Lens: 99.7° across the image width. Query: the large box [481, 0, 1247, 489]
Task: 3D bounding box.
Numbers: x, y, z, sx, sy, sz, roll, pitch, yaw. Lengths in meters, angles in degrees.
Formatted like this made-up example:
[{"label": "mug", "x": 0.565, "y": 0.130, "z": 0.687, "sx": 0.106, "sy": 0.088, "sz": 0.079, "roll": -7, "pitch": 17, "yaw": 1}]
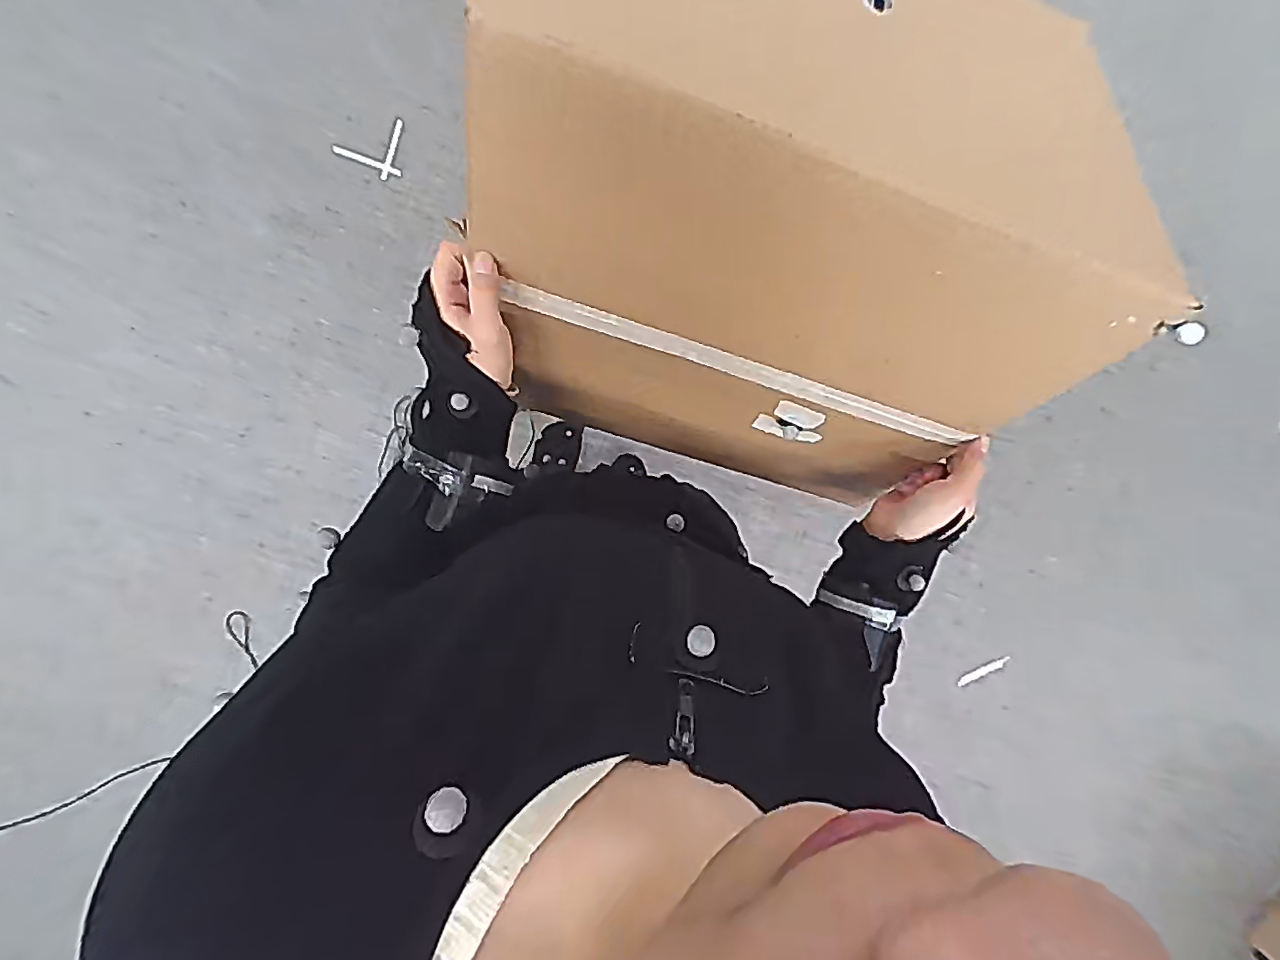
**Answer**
[{"label": "large box", "x": 0.110, "y": -0.232, "z": 0.446, "sx": 0.408, "sy": 0.320, "sz": 0.320, "roll": 15, "pitch": 64, "yaw": -9}]
